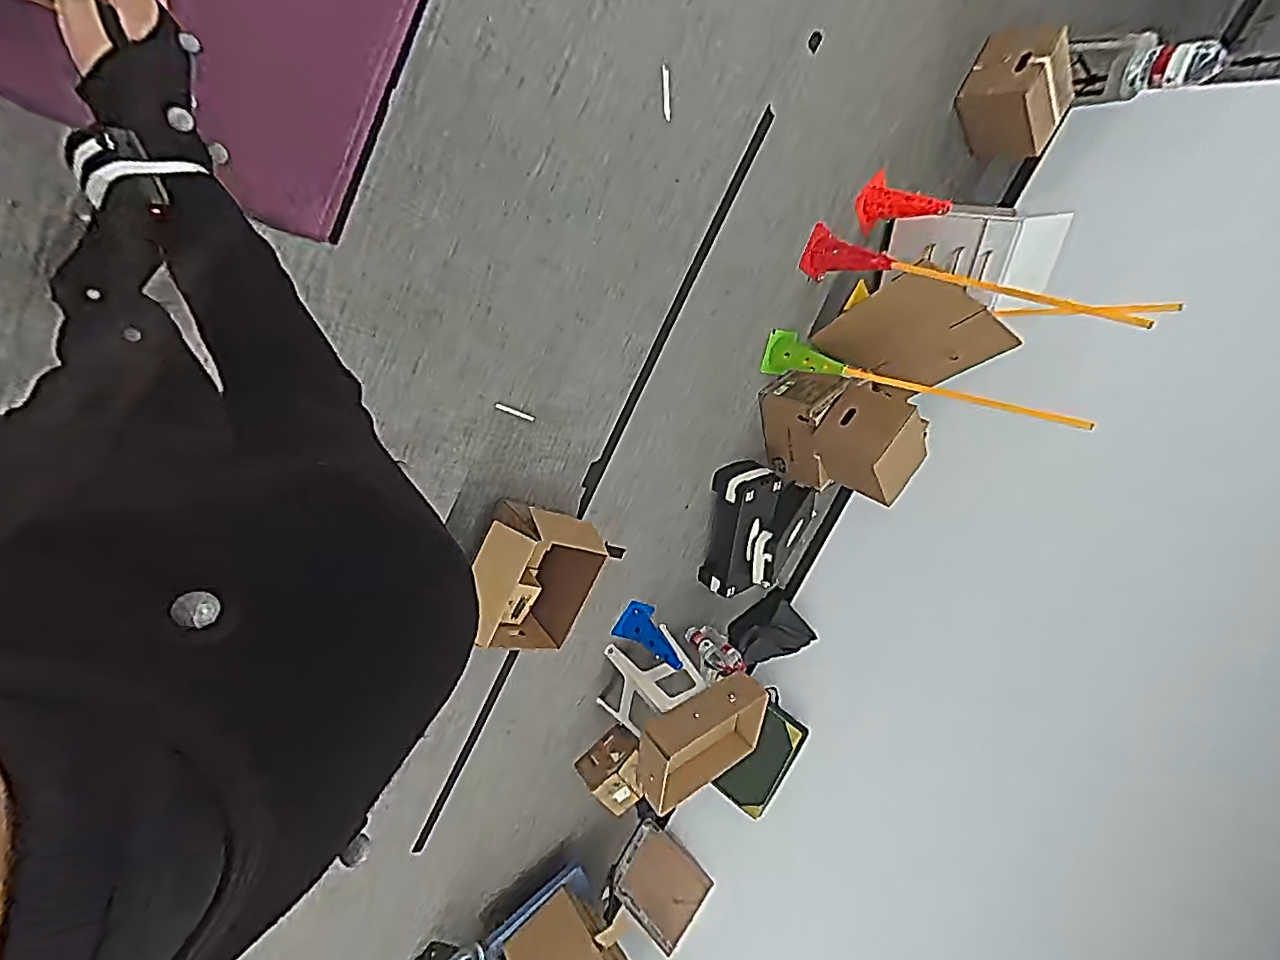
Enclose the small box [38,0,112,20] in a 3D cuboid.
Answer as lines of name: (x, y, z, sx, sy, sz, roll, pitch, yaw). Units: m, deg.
small box: (-0.491, -0.478, 0.382, 0.168, 0.176, 0.179, -1, 116, -43)
